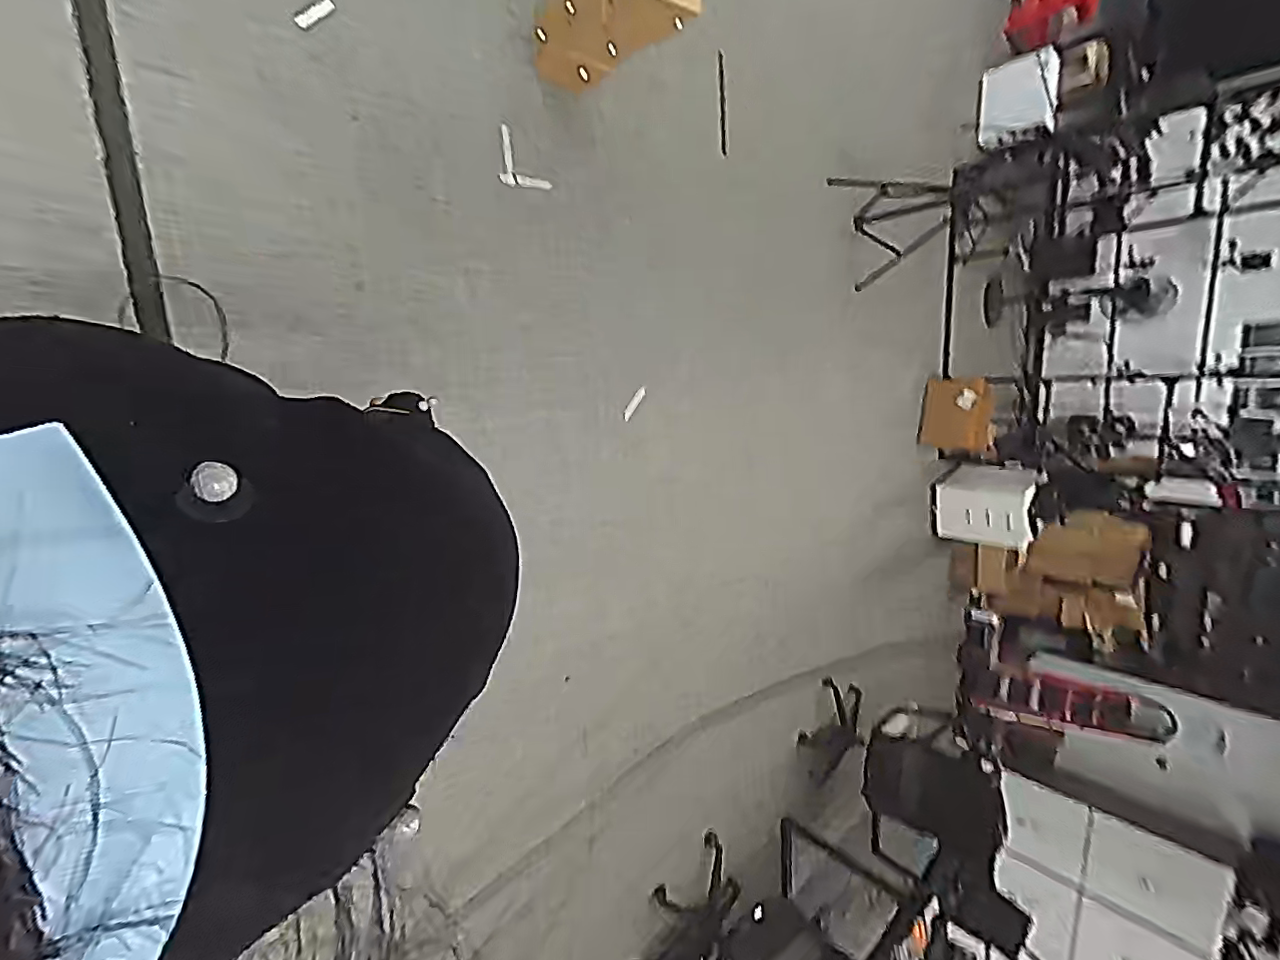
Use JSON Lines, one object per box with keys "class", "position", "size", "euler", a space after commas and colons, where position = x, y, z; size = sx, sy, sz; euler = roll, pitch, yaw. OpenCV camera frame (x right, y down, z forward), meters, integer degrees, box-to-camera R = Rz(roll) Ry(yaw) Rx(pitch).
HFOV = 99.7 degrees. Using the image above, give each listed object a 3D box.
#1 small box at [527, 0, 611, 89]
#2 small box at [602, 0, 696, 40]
{"class": "small box", "position": [-0.209, -1.291, 1.593], "size": [0.179, 0.176, 0.168], "euler": [-15, 106, -40]}
{"class": "small box", "position": [0.018, -1.251, 1.357], "size": [0.179, 0.176, 0.168], "euler": [-19, 108, -38]}
